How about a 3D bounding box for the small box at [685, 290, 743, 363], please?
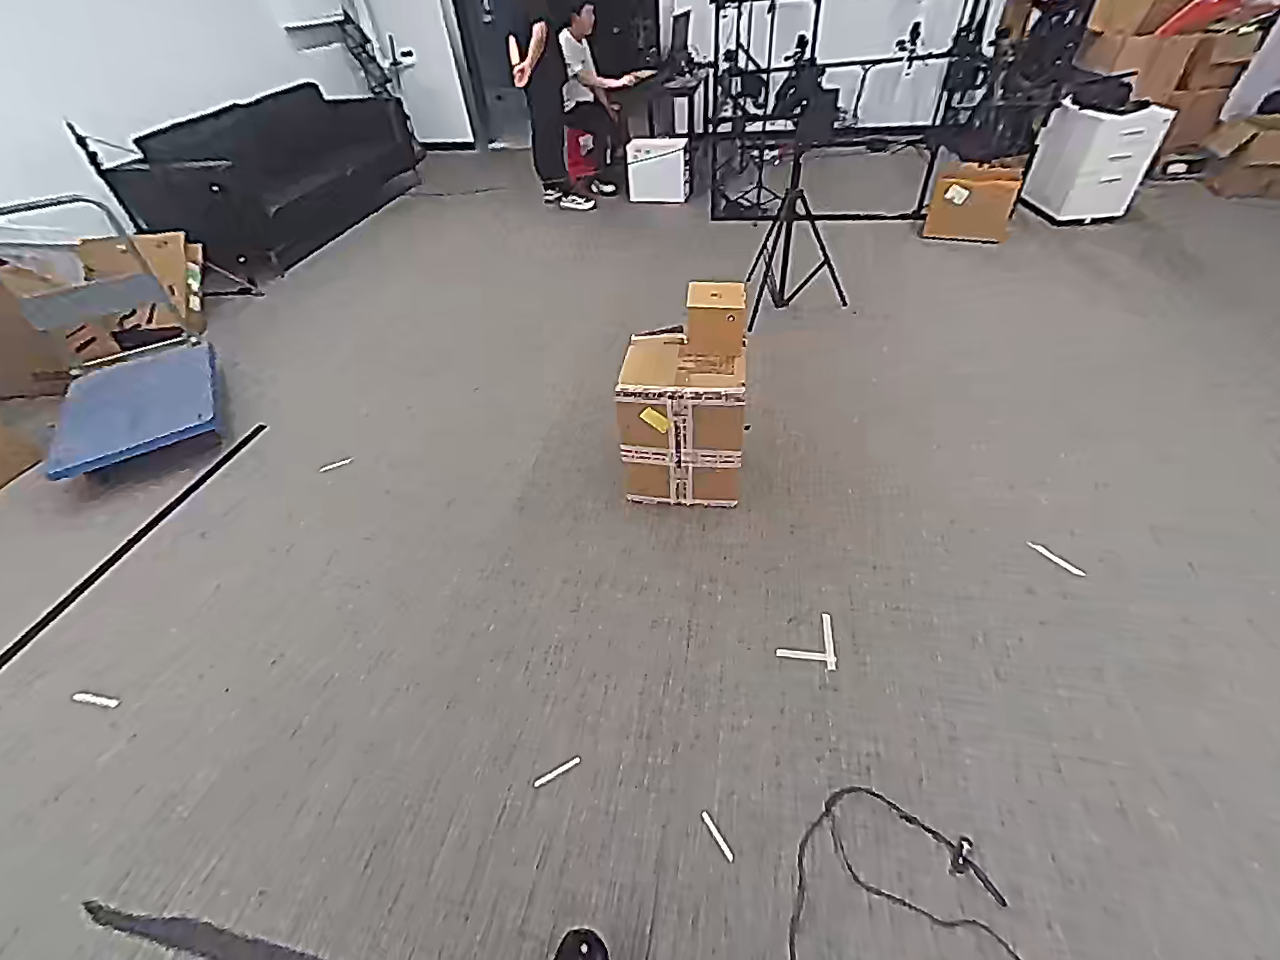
[{"bbox_3d":[0.233,-0.487,1.718,0.179,0.176,0.168,3,45,6],"label":"small box"}]
